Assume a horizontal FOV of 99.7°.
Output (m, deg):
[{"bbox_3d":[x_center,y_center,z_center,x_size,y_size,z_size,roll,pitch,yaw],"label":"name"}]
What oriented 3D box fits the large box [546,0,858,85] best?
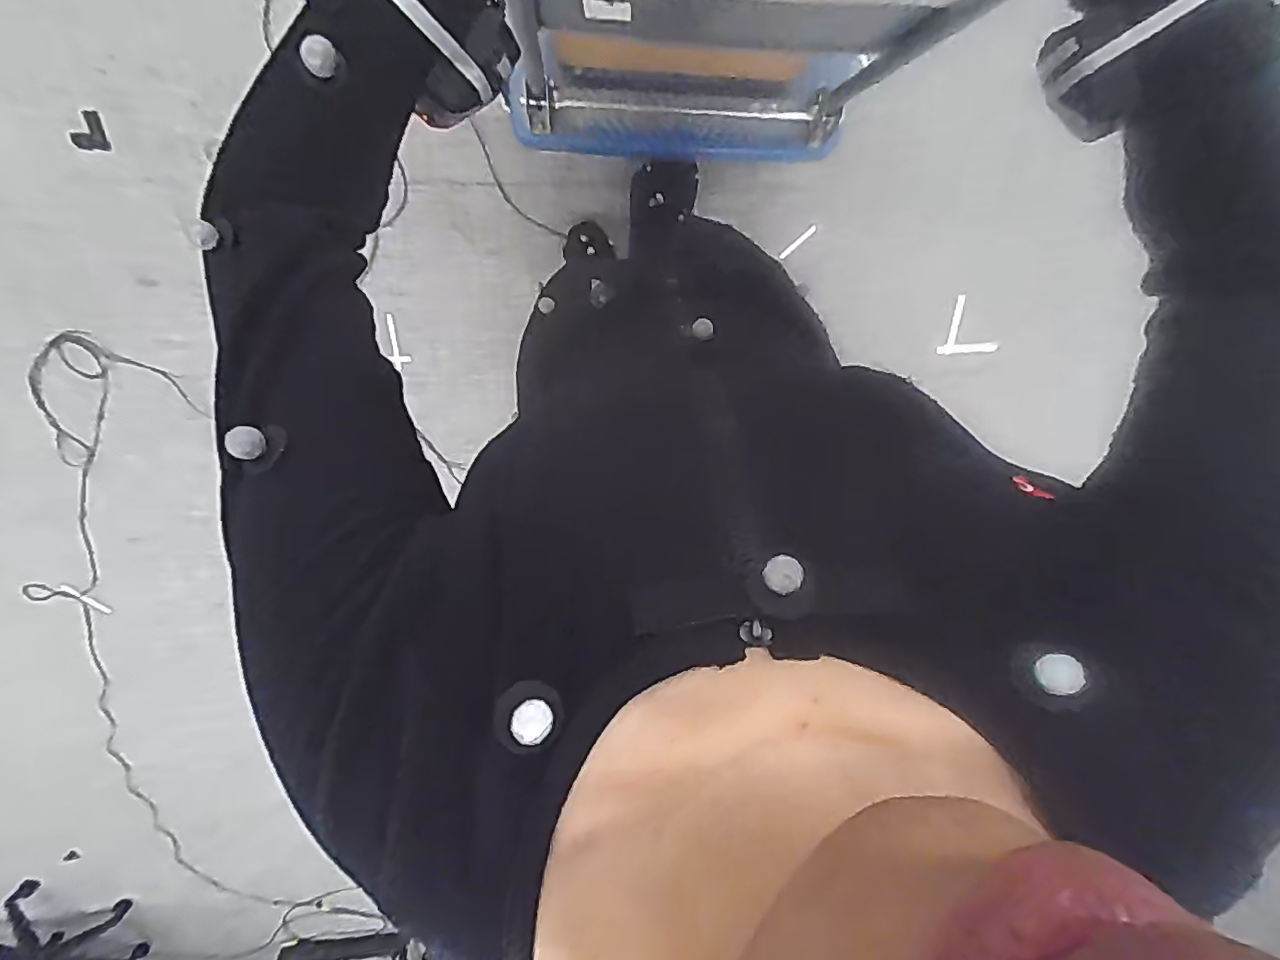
[{"bbox_3d":[0.068,-0.769,0.720,0.408,0.320,0.320,-2,108,-7],"label":"large box"}]
